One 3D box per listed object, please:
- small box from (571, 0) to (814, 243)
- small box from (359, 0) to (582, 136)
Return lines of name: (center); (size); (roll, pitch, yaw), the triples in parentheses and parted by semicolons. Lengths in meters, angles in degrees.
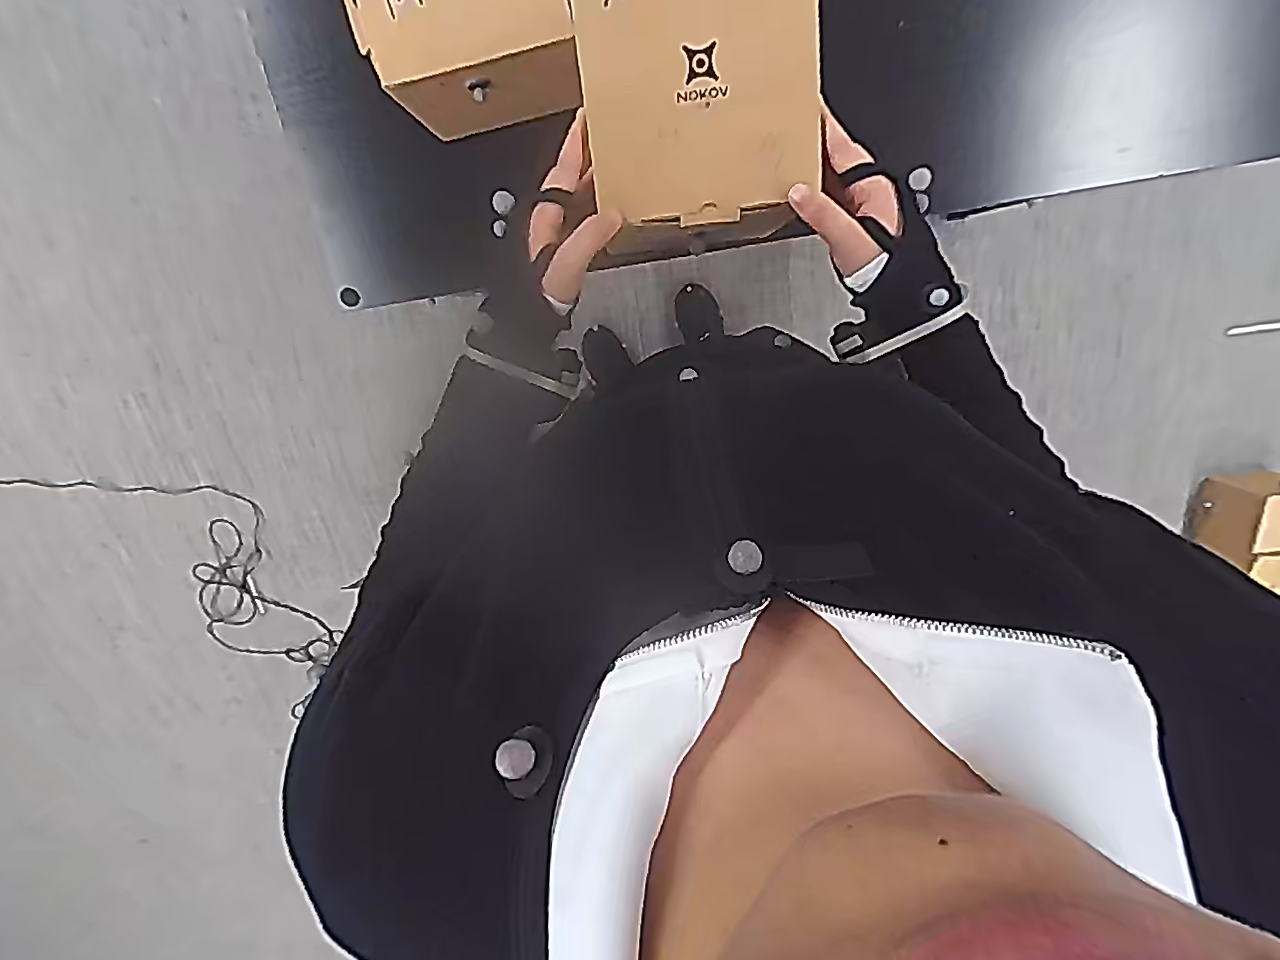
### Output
small box: (0.041, -0.304, 0.457); (0.168, 0.176, 0.179); (-6, 108, 2)
small box: (-0.159, -0.464, 0.525); (0.179, 0.176, 0.168); (-13, 108, 3)
